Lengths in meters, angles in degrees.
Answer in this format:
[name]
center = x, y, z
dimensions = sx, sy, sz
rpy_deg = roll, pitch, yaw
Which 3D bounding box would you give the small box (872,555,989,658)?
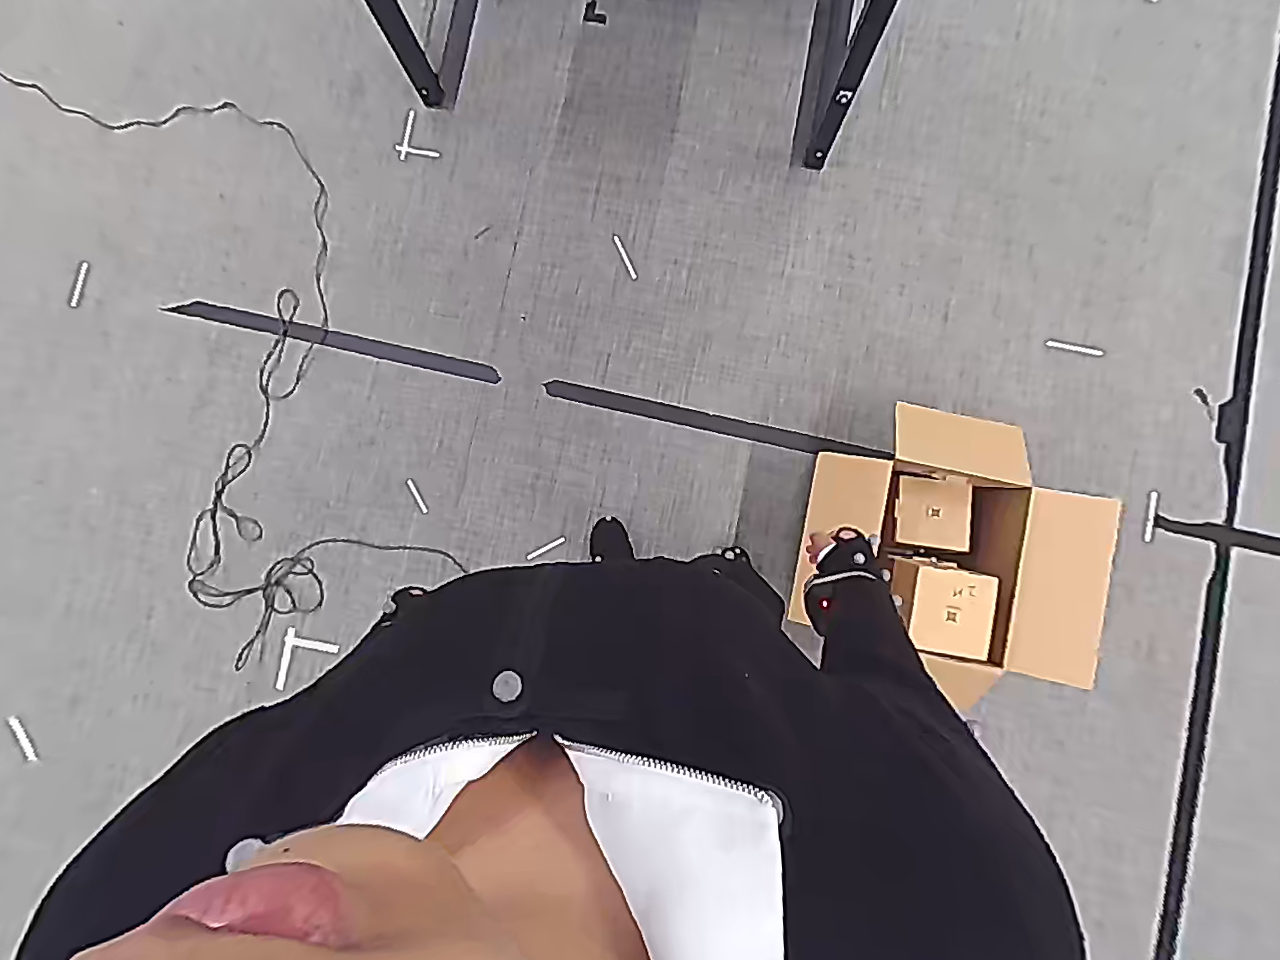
[small box]
center = 0.638, 0.275, 1.210
dimensions = 0.168, 0.176, 0.179
rpy_deg = 9, 88, 2
